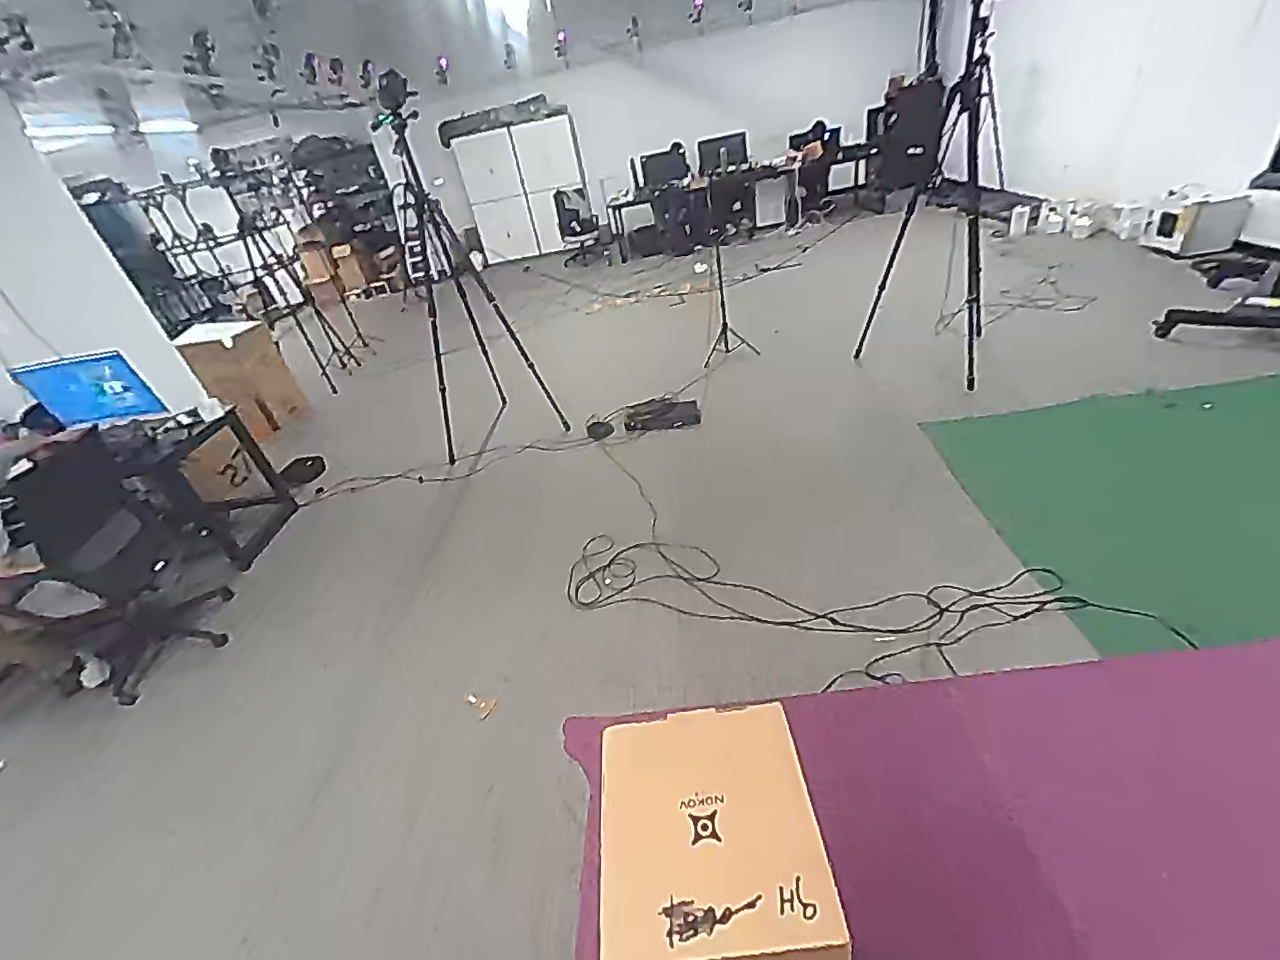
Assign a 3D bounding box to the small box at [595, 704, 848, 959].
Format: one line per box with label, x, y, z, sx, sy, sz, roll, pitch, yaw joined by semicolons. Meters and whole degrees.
small box;0.064;0.325;0.458;0.168;0.176;0.179;-11;32;5
